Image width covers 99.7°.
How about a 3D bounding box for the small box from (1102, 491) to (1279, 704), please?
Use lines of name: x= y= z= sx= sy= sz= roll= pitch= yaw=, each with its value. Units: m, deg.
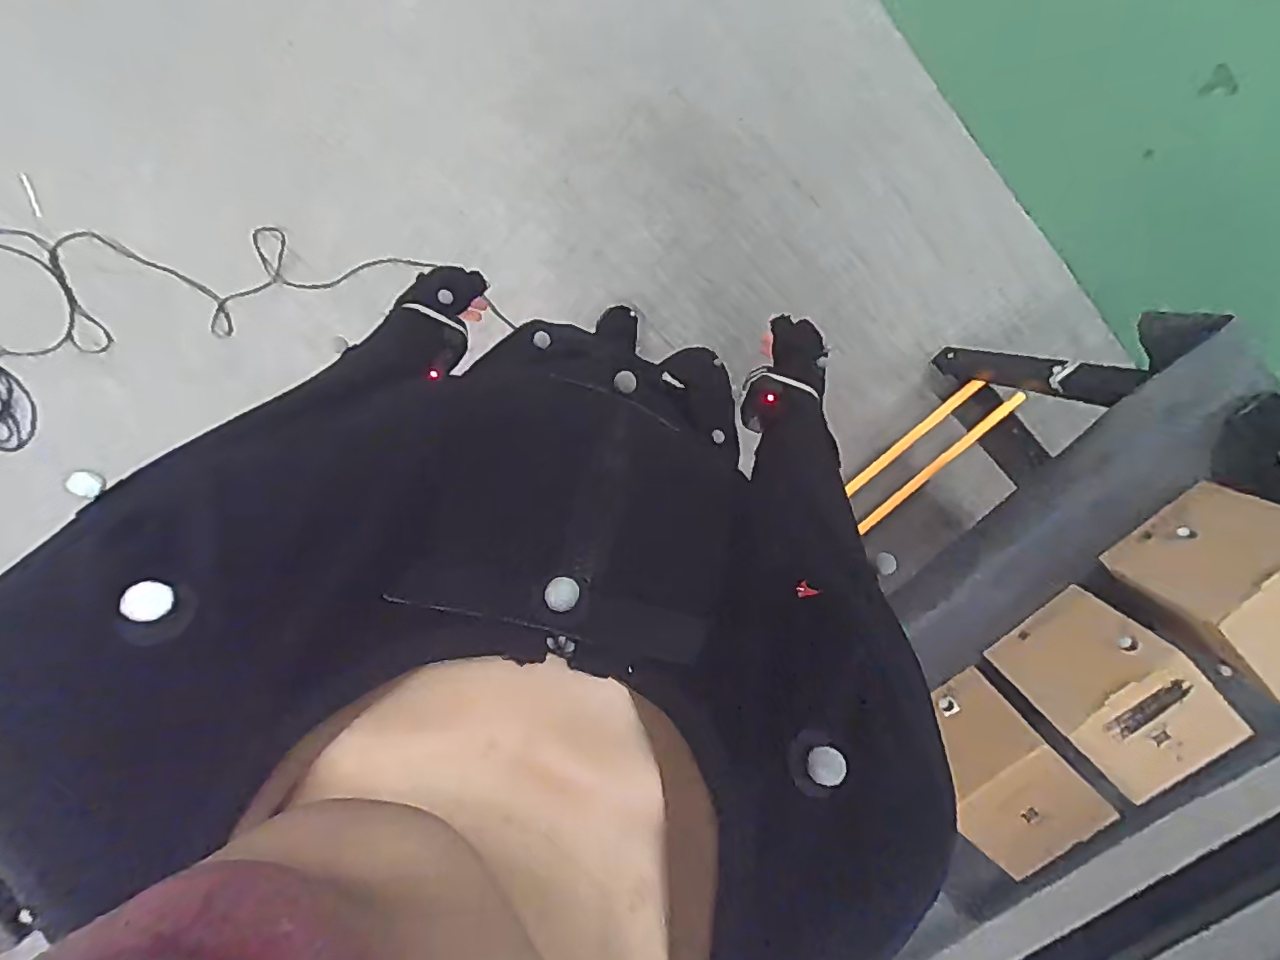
small box: x=0.775 y=0.141 z=0.702 sx=0.179 sy=0.176 sz=0.168 roll=41 pitch=103 yaw=-12
